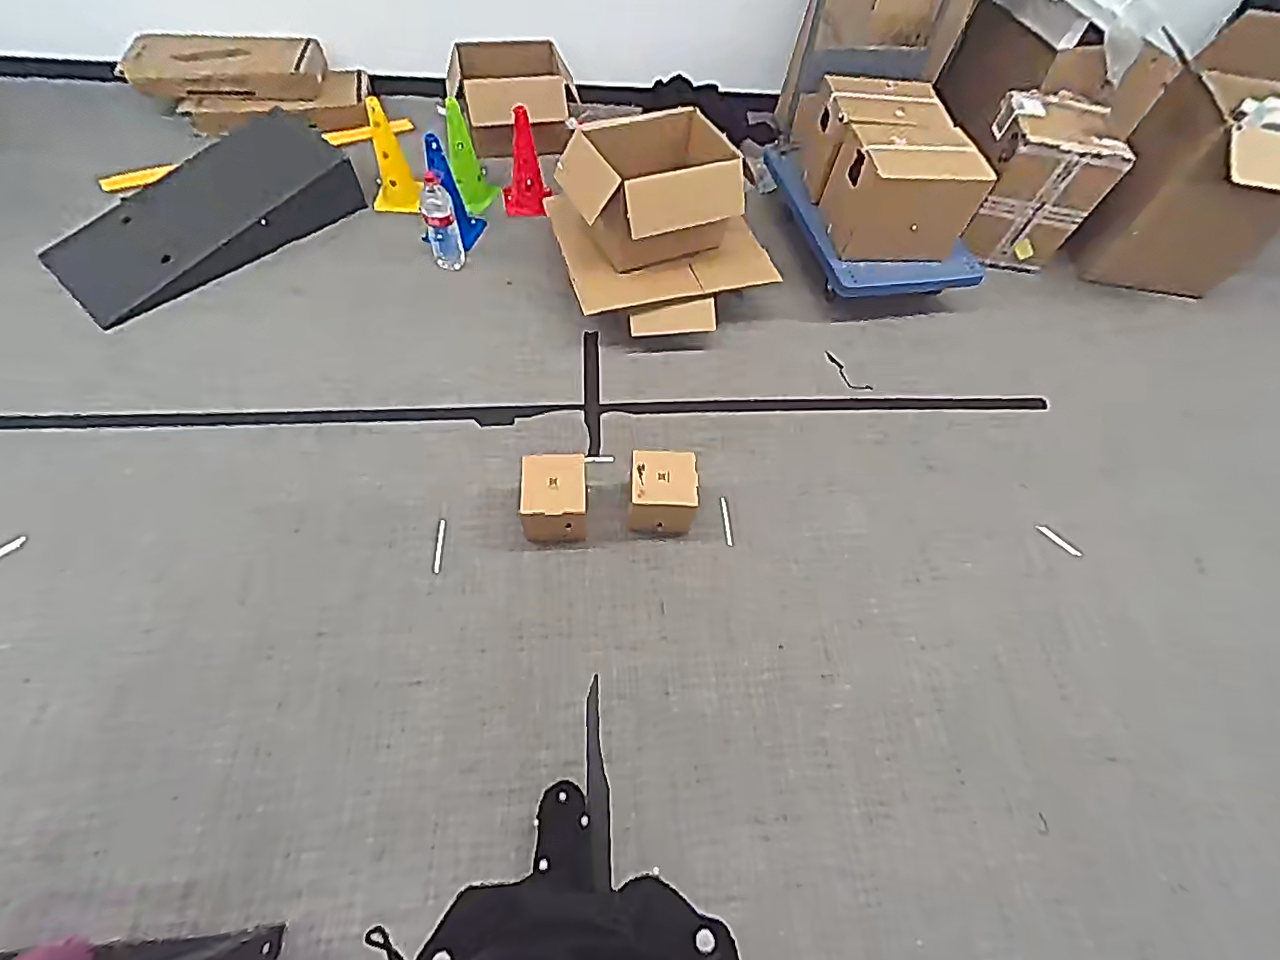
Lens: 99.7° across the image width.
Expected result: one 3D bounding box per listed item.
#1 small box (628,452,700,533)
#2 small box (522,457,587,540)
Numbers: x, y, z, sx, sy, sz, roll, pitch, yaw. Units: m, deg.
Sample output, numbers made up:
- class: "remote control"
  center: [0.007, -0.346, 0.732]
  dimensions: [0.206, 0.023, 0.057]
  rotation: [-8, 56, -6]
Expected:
- class: "small box"
  center: [0.062, 0.040, 1.501]
  dimensions: [0.179, 0.176, 0.168]
  rotation: [3, 60, -5]
- class: "small box"
  center: [-0.227, 0.056, 1.463]
  dimensions: [0.168, 0.176, 0.179]
  rotation: [-1, 59, -8]
